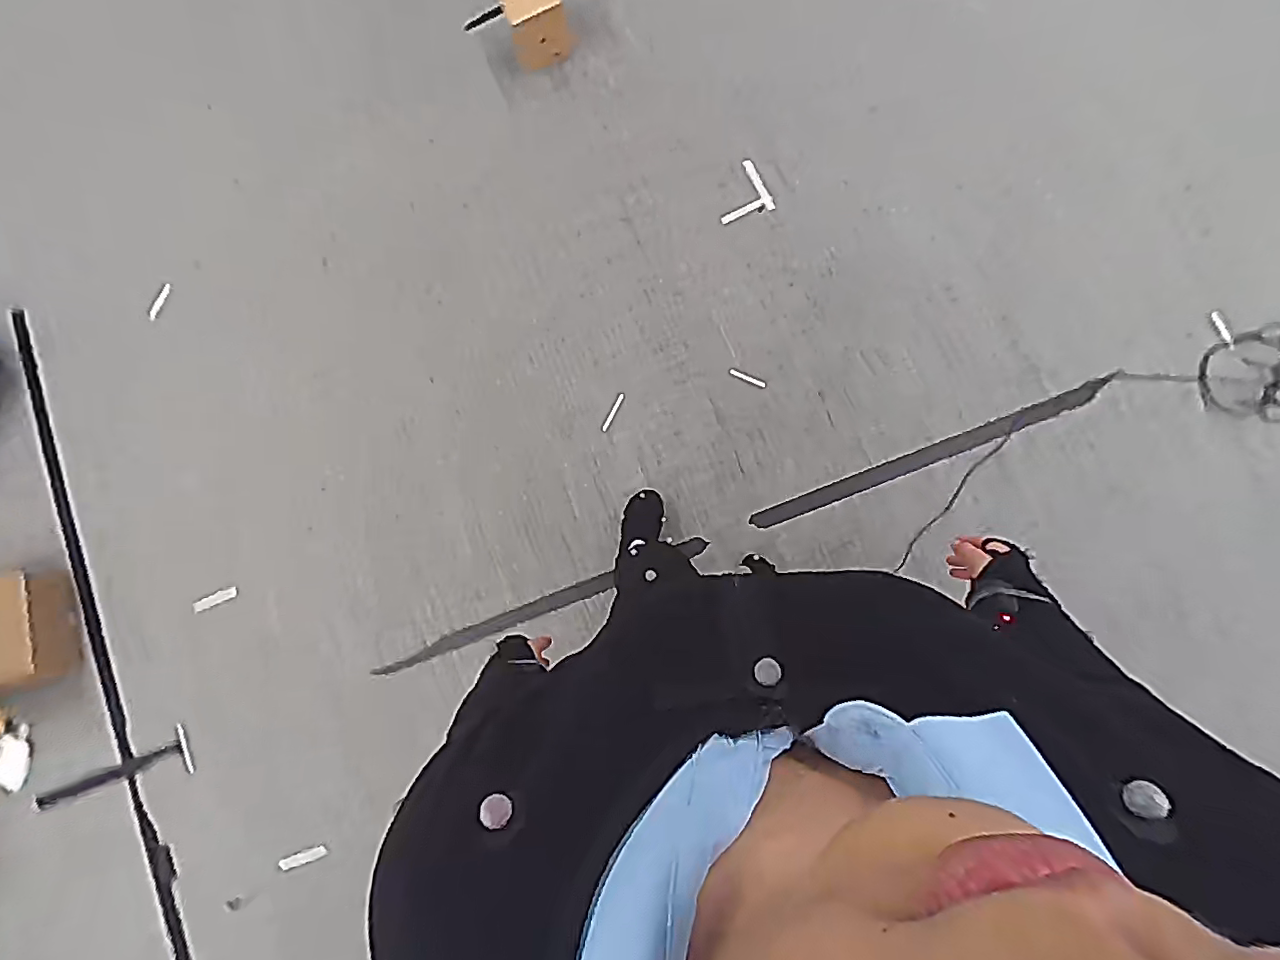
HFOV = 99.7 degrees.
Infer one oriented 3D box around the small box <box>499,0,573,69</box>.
[{"bbox_3d":[-0.319,-1.404,1.645,0.168,0.176,0.179,-21,82,4],"label":"small box"}]
